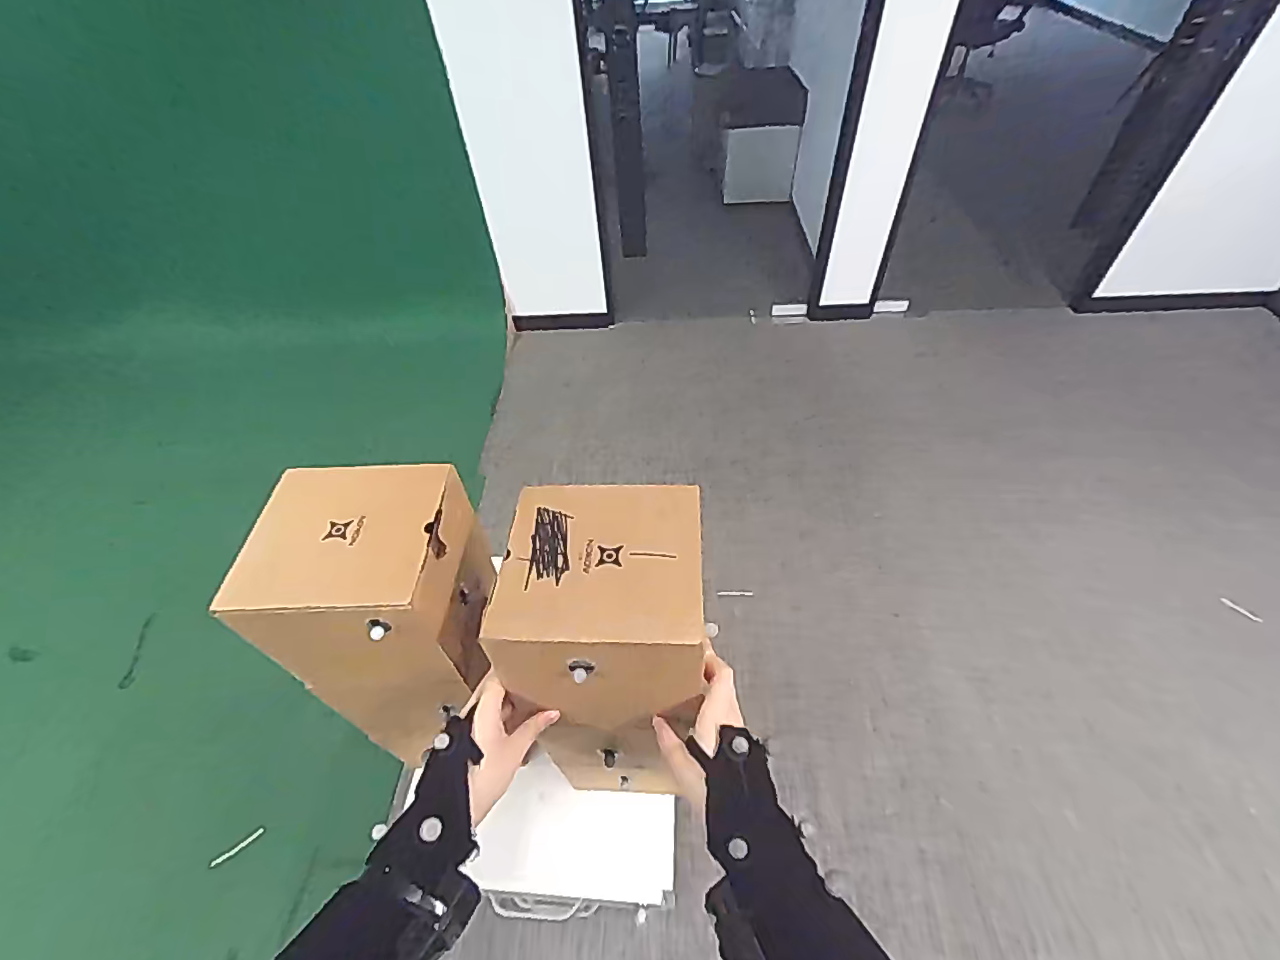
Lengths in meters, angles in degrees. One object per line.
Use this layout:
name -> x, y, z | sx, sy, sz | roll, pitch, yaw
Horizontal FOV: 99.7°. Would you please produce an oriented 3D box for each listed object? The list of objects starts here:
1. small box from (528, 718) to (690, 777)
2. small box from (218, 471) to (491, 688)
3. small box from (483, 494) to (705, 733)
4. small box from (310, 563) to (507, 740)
small box -> -0.022, 0.243, 0.650 | 0.168, 0.176, 0.179 | 0, 49, 5
small box -> -0.272, 0.108, 0.569 | 0.179, 0.176, 0.168 | -2, 48, 0
small box -> -0.027, 0.130, 0.524 | 0.179, 0.176, 0.168 | 0, 46, 4
small box -> -0.267, 0.219, 0.689 | 0.179, 0.176, 0.168 | -3, 48, 0
